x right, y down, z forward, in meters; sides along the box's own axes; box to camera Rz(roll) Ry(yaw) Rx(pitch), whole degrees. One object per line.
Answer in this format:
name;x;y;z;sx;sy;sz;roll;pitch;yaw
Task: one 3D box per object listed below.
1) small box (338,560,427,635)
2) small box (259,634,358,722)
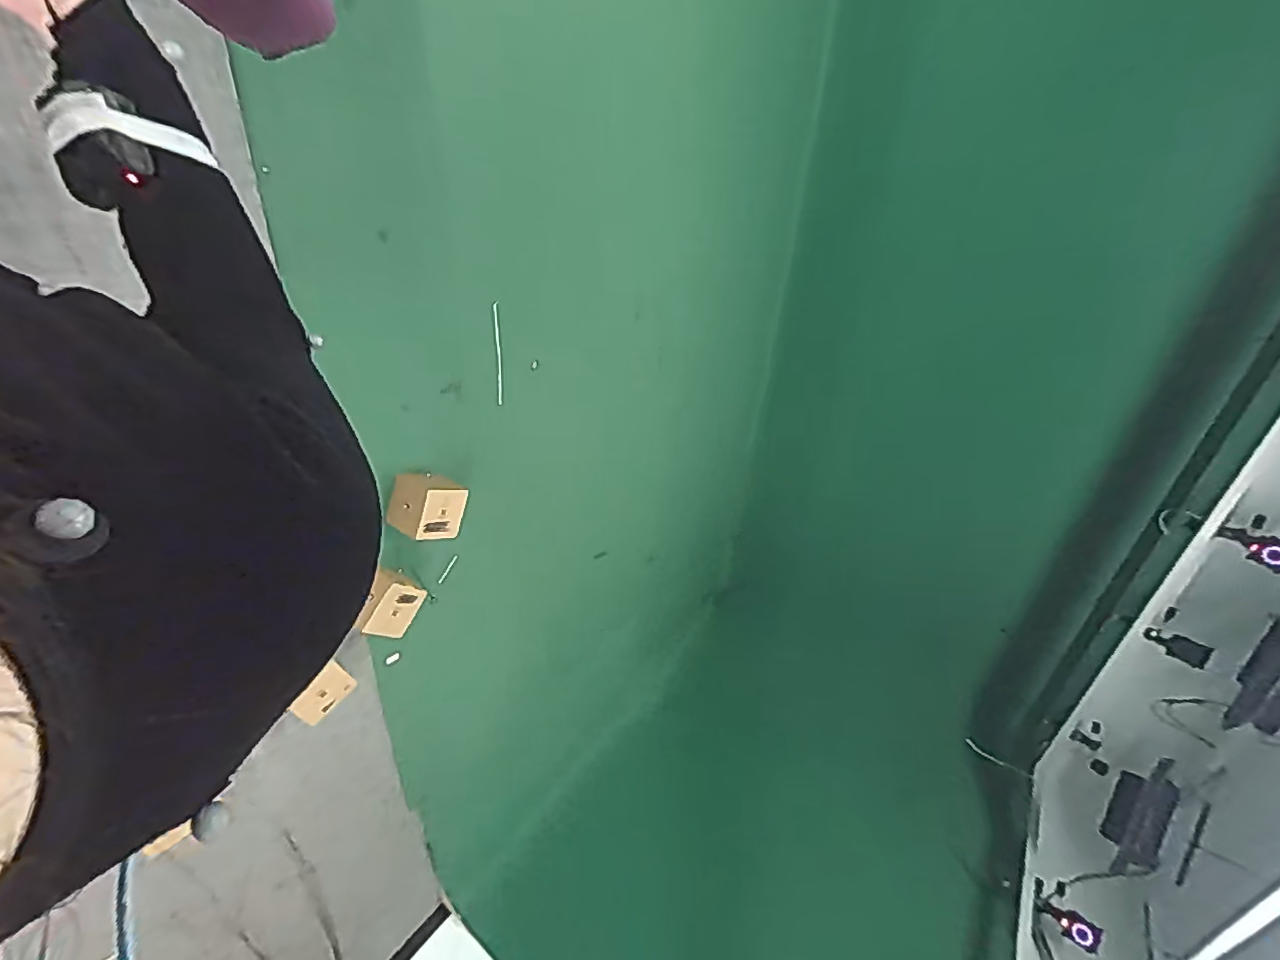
small box;-0.857;0.388;1.793;0.179;0.176;0.168;-60;150;-9
small box;-1.025;0.602;1.670;0.168;0.176;0.179;-46;144;-32
